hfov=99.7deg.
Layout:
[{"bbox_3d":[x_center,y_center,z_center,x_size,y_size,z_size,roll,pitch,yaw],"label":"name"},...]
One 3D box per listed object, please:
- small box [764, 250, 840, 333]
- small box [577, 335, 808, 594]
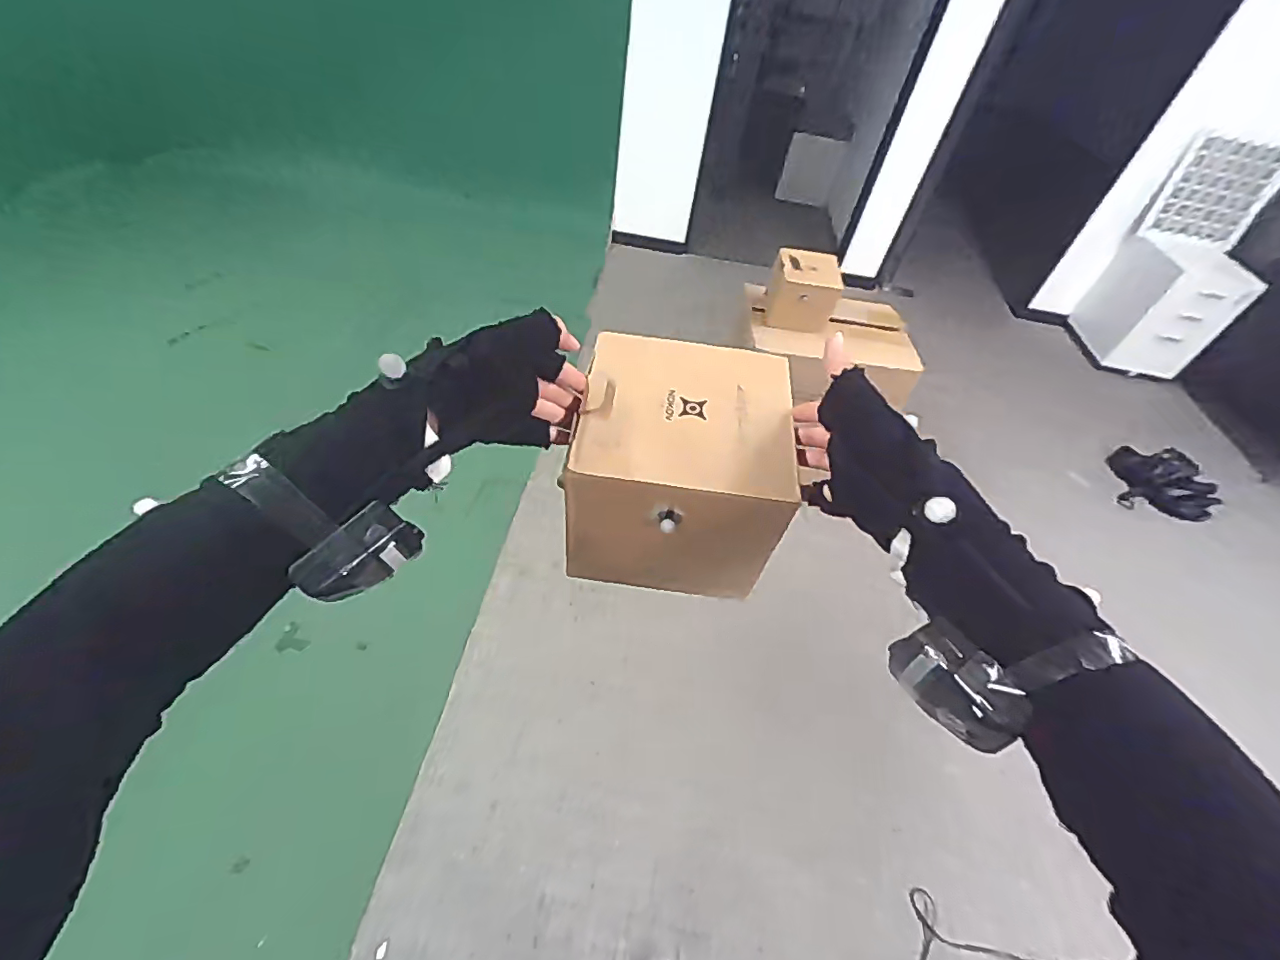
[{"bbox_3d":[0.487,-0.576,1.662,0.179,0.176,0.168,7,56,-4],"label":"small box"},{"bbox_3d":[0.039,-0.008,0.508,0.179,0.176,0.168,8,52,-2],"label":"small box"}]
